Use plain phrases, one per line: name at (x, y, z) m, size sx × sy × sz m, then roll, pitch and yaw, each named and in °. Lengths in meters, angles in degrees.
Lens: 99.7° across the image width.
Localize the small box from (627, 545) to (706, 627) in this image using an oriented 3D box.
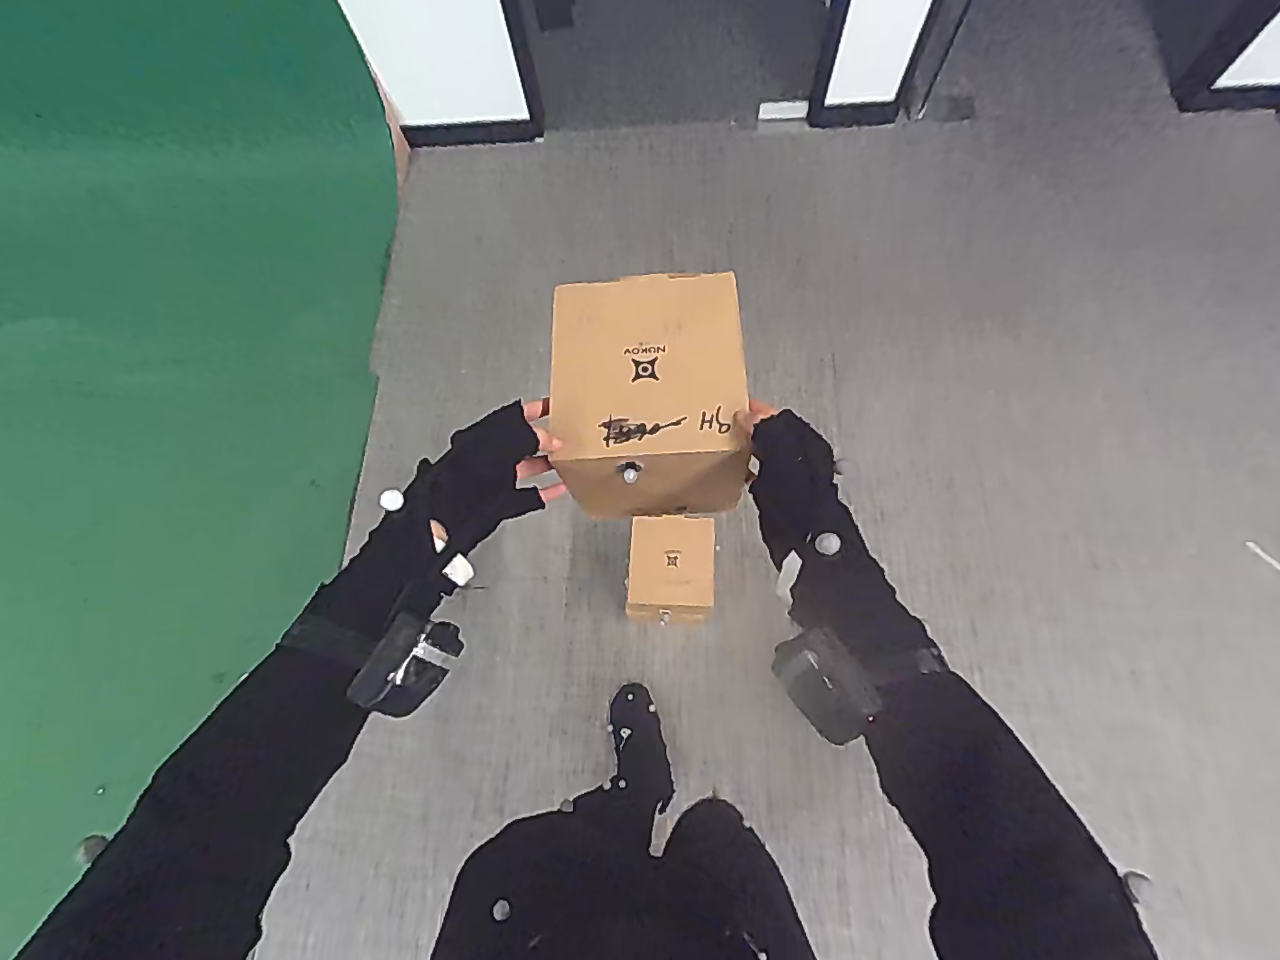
small box at (0.067, 0.255, 1.282) m, size 0.179 × 0.176 × 0.168 m, roll 1°, pitch 69°, yaw 5°

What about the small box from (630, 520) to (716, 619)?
small box at (0.072, 0.191, 1.134) m, size 0.168 × 0.176 × 0.179 m, roll 0°, pitch 70°, yaw 5°
